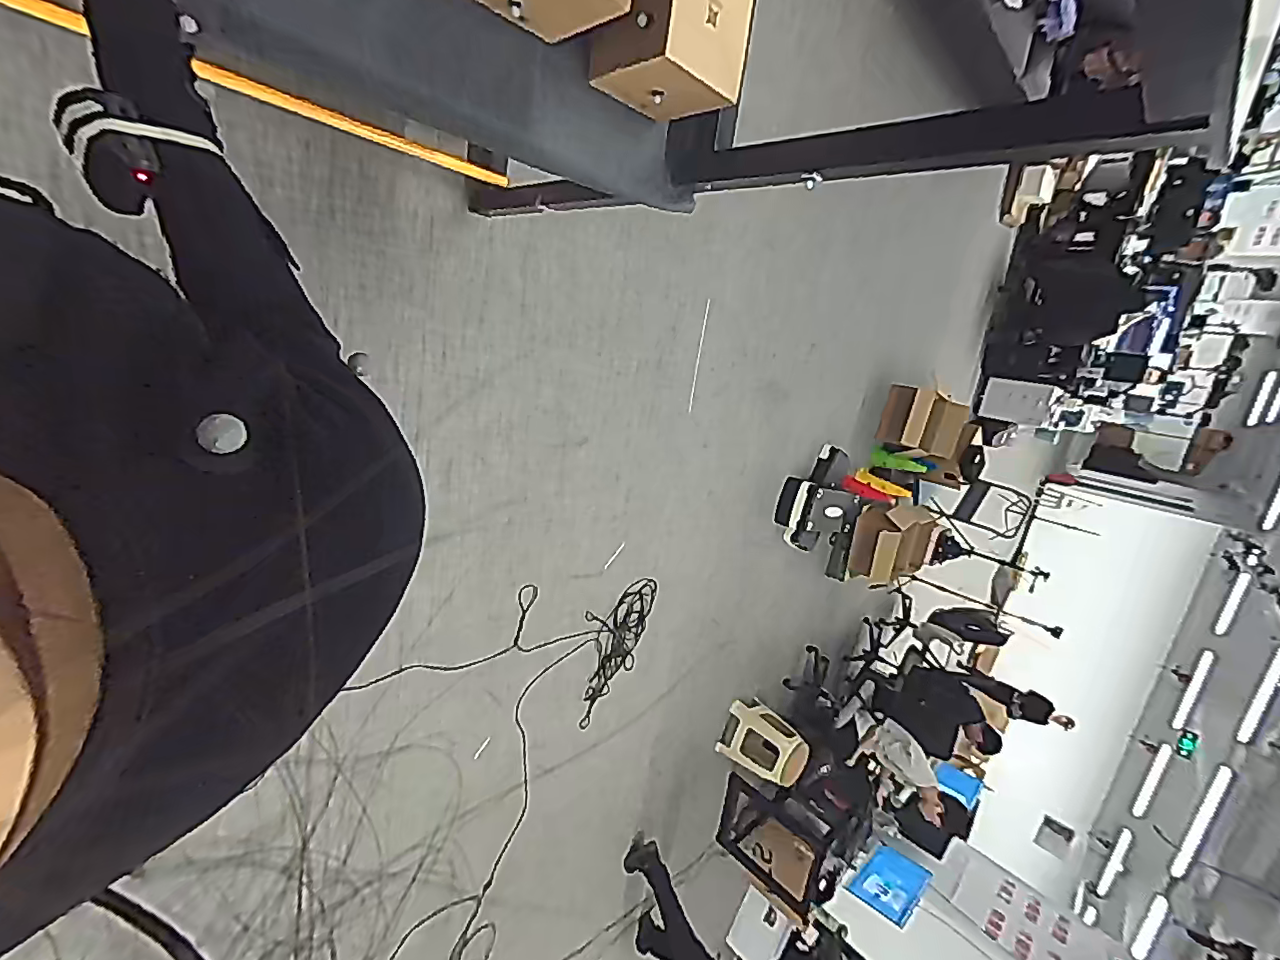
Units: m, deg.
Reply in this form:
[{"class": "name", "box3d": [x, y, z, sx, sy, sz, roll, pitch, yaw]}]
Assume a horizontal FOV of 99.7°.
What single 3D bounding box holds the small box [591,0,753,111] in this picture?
[{"class": "small box", "box3d": [0.045, -0.683, 0.806, 0.168, 0.176, 0.179, -8, 112, -45]}]
